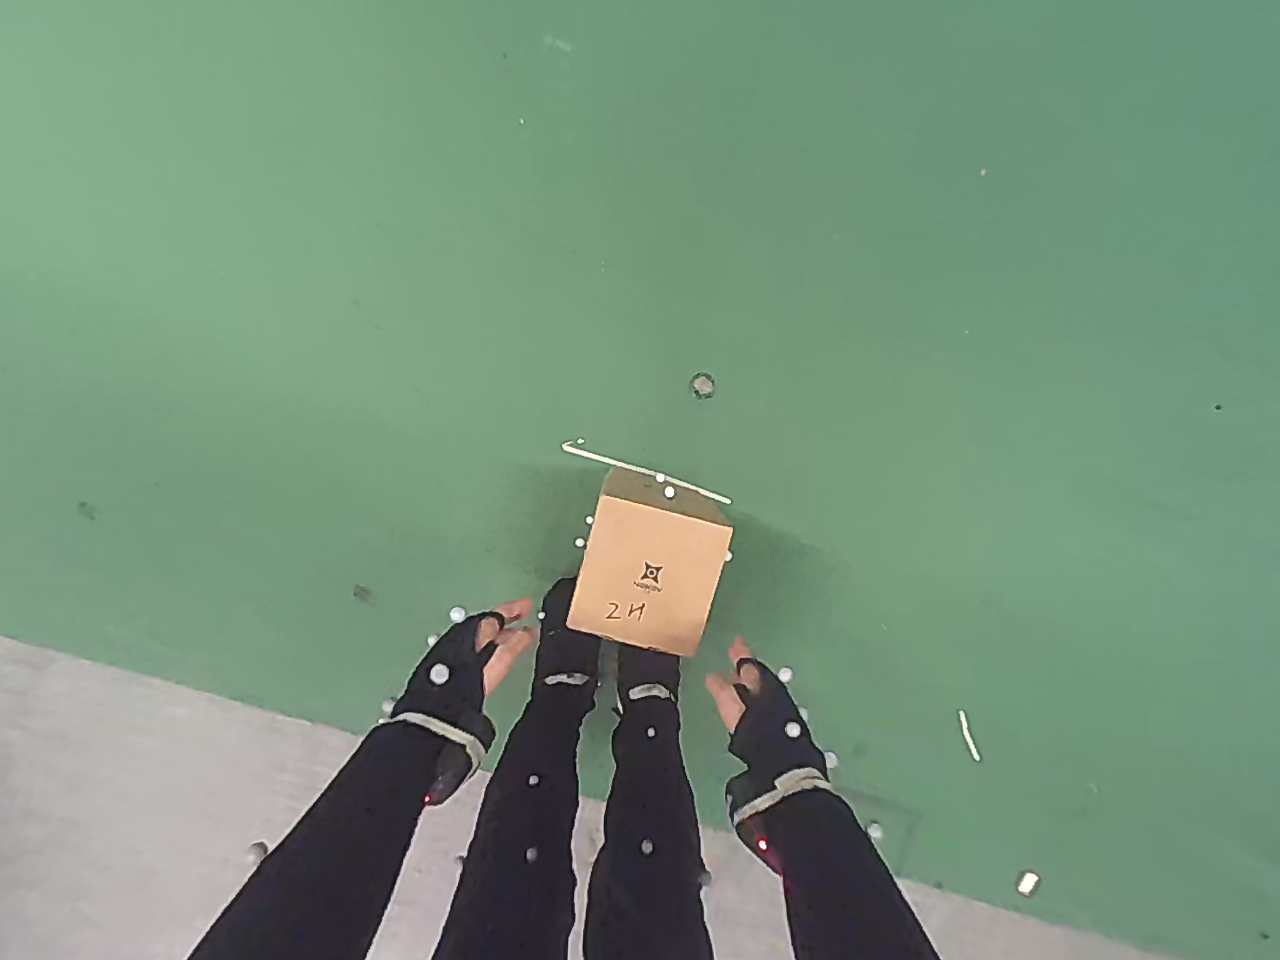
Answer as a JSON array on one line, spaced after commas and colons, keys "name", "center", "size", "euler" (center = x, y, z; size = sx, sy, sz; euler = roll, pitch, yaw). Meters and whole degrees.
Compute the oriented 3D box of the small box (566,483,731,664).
[{"name": "small box", "center": [0.008, 0.113, 0.732], "size": [0.168, 0.176, 0.179], "euler": [16, 98, -3]}]
